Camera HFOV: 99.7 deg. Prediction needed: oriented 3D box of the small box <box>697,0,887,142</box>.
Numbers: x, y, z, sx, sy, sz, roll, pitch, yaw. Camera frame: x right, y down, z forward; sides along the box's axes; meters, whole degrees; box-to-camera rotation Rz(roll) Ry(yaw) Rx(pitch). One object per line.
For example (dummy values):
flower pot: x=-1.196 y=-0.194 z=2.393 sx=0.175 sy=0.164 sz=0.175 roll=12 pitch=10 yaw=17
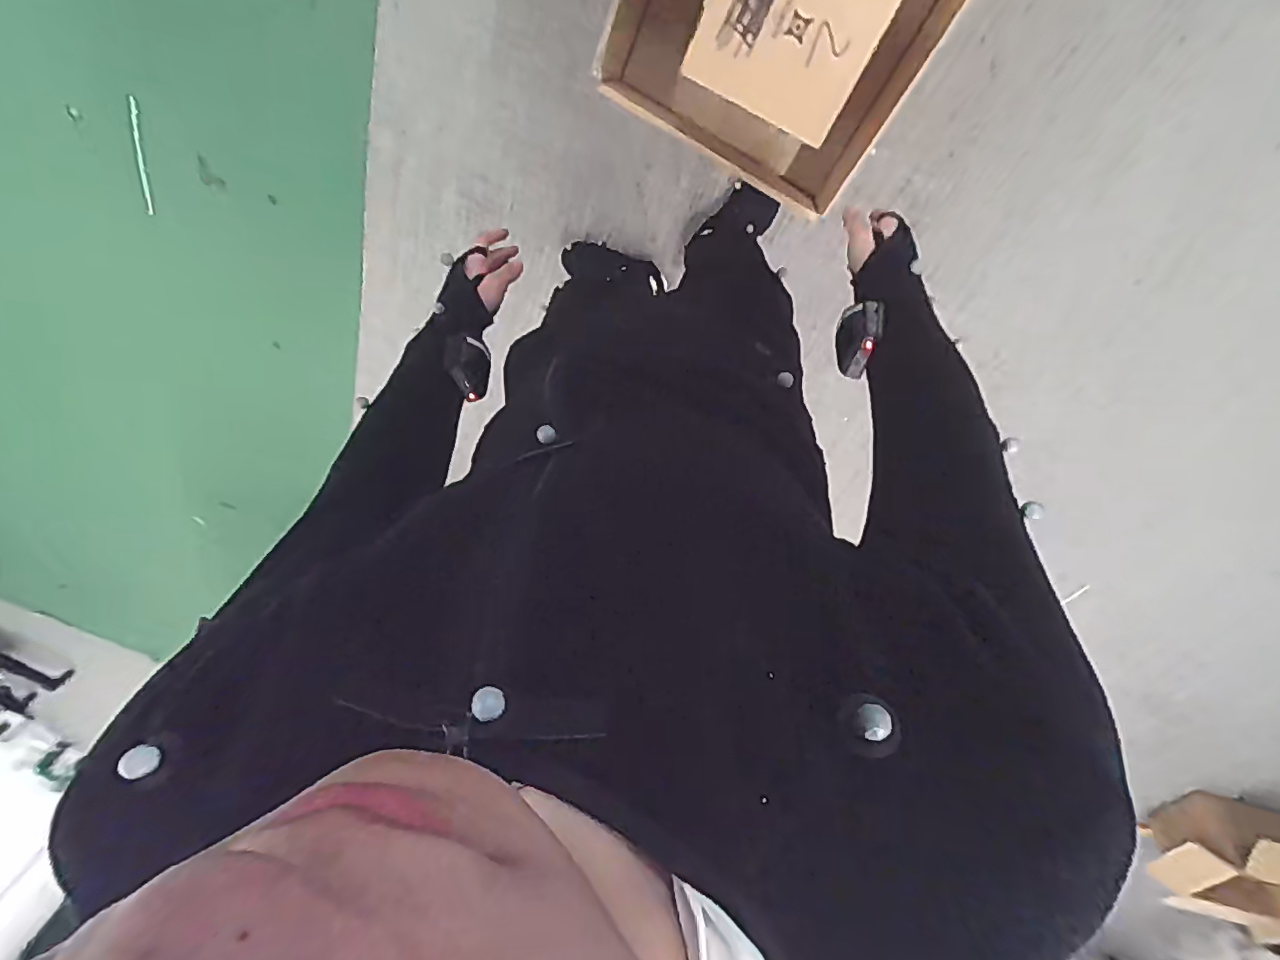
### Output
small box: x=0.197 y=-0.598 z=0.737 sx=0.179 sy=0.176 sz=0.168 roll=25 pitch=126 yaw=-8
